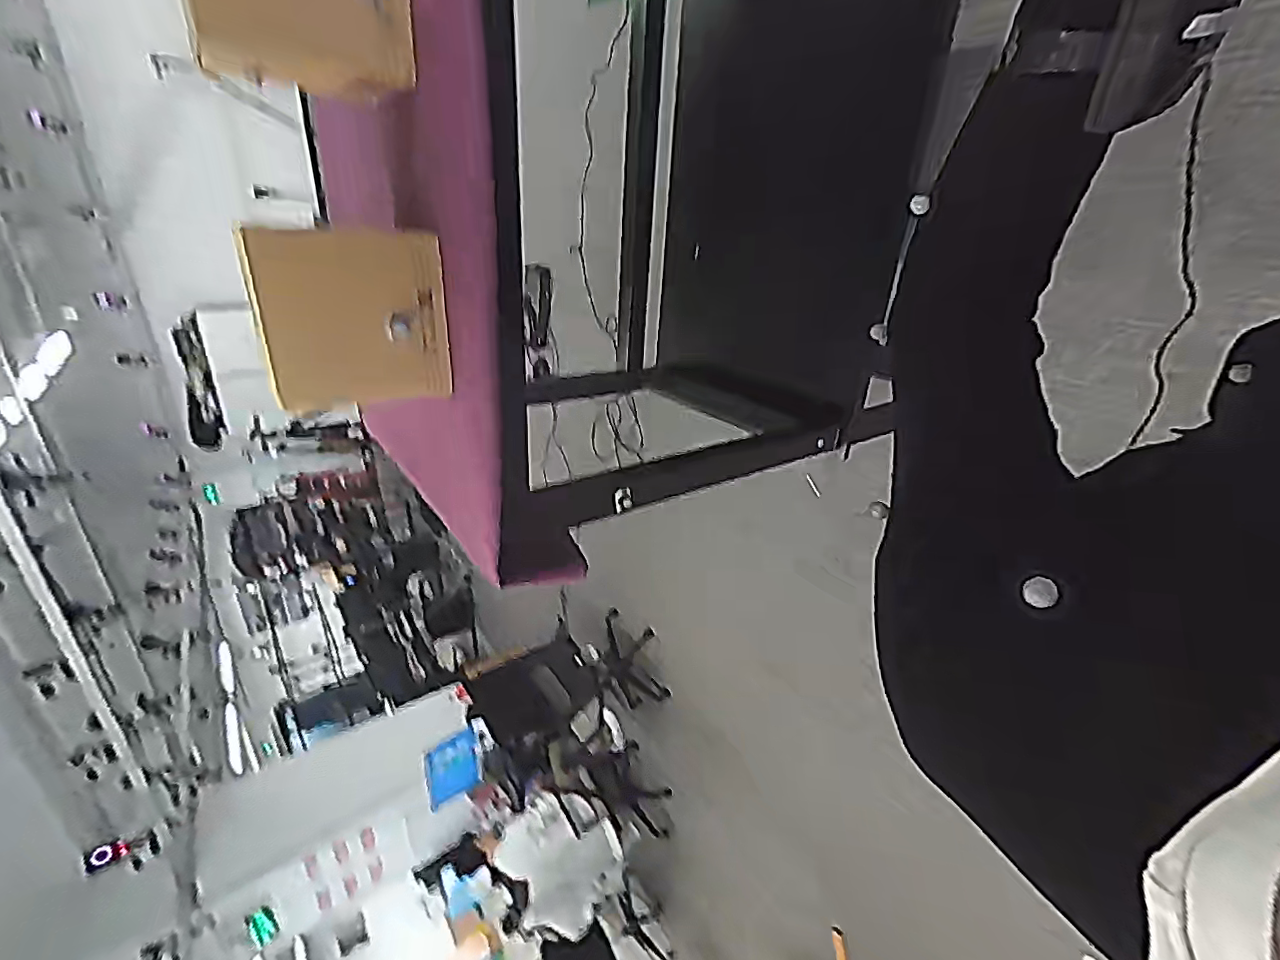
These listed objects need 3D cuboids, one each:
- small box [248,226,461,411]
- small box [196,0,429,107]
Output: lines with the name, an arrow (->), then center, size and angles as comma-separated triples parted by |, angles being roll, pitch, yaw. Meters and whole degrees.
small box -> -0.311, -0.185, 0.599 | 0.179, 0.176, 0.168 | 30, 126, 46
small box -> -0.305, -0.456, 0.494 | 0.179, 0.176, 0.168 | 35, 130, 44
